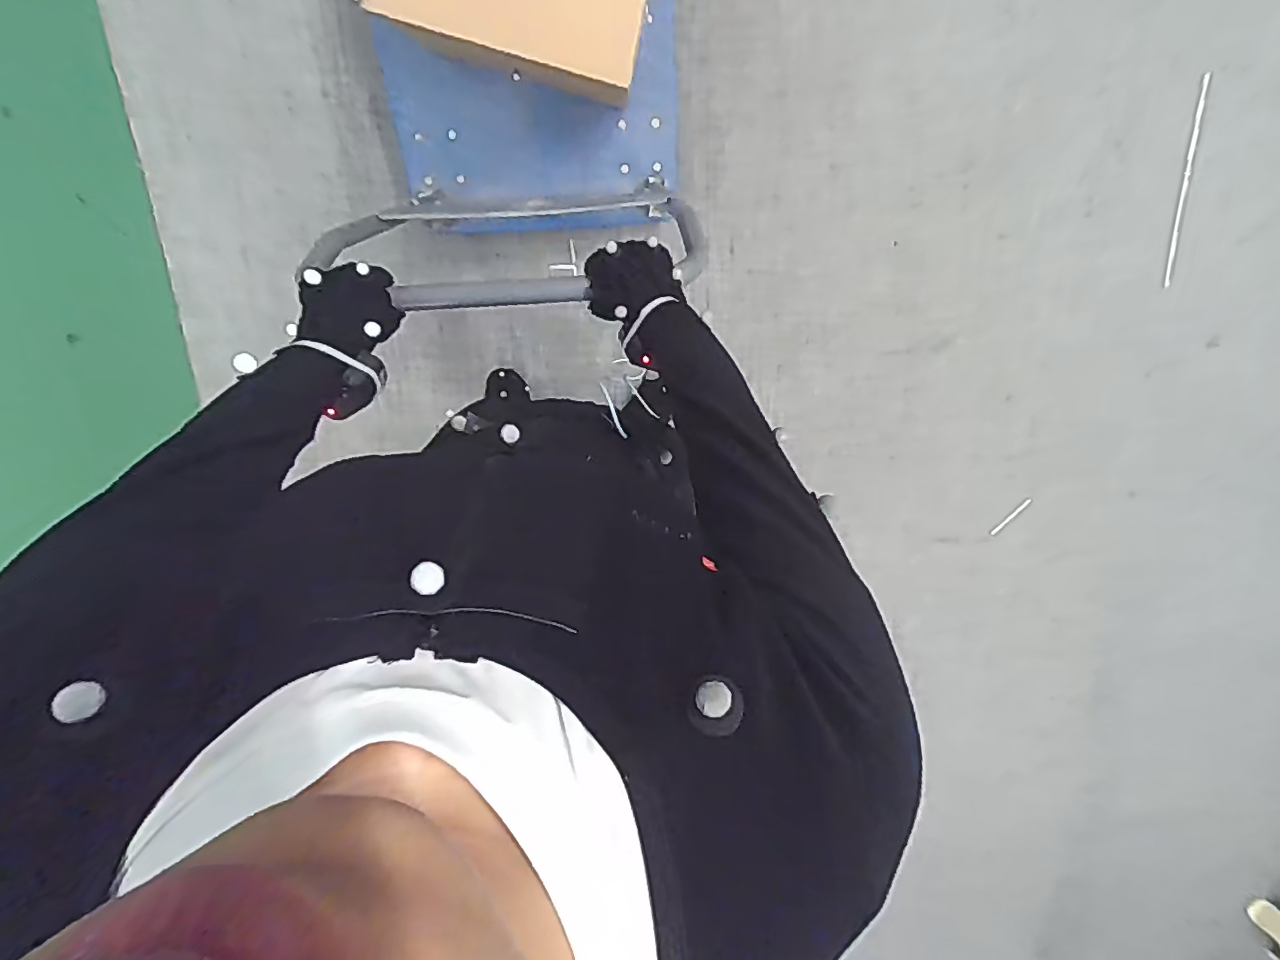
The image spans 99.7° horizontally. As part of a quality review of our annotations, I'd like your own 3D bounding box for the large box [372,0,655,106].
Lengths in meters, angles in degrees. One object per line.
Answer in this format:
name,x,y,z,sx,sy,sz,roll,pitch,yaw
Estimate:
large box,-0.171,-0.847,0.878,0.408,0.320,0.320,11,118,-7
